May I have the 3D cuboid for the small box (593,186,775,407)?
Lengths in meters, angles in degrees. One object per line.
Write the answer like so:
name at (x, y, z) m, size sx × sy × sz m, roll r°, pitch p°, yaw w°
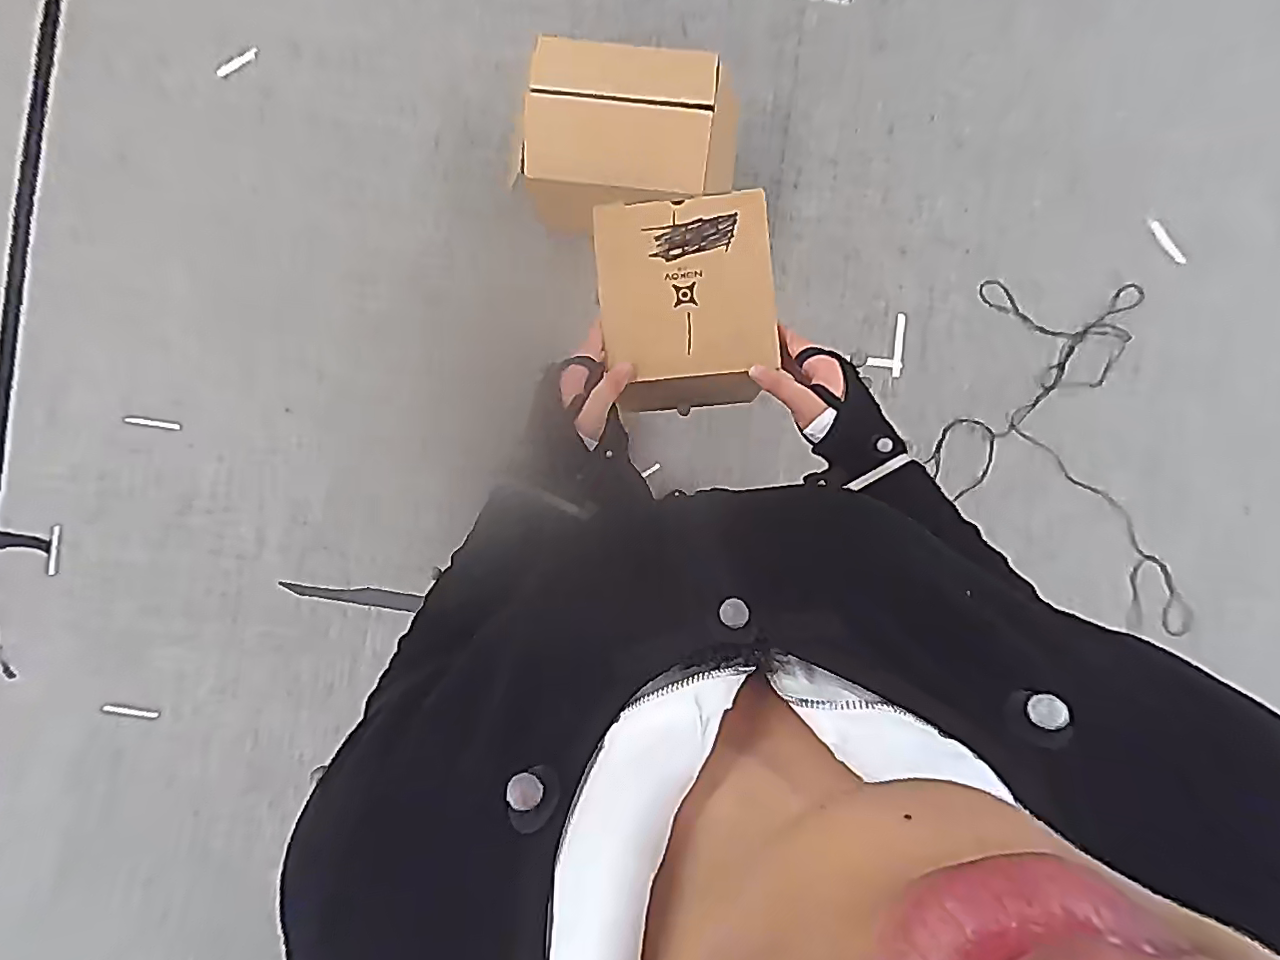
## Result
small box at (0.042, -0.186, 0.594) m, size 0.168 × 0.176 × 0.179 m, roll -5°, pitch 88°, yaw 2°
